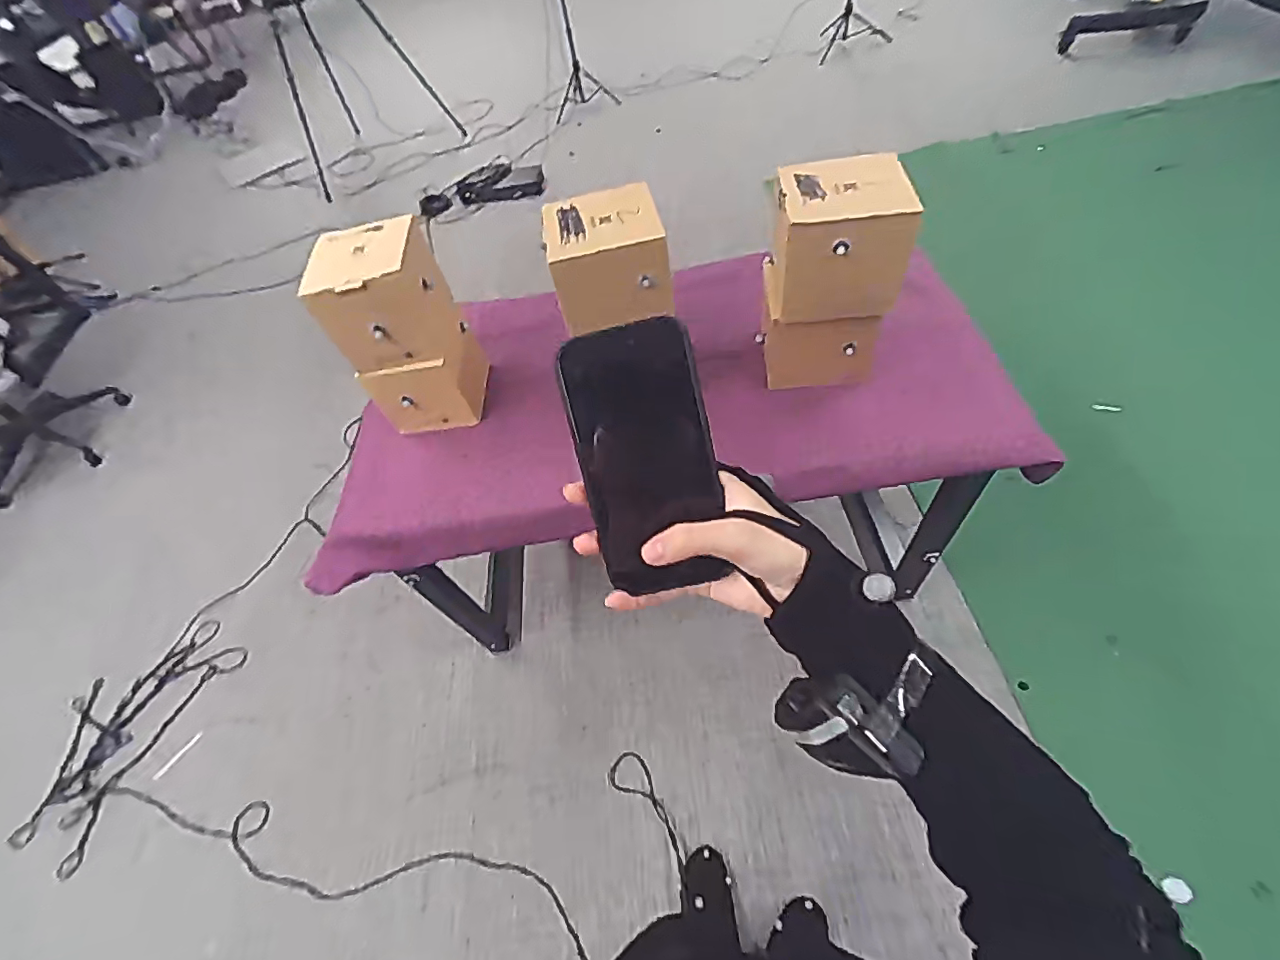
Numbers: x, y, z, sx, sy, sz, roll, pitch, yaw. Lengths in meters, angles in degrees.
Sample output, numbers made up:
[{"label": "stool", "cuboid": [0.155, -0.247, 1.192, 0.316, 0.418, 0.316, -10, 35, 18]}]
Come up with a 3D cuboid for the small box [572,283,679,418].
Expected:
[{"label": "small box", "cuboid": [-0.022, -0.237, 1.012, 0.179, 0.176, 0.168, -8, 53, 5]}]

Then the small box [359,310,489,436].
[{"label": "small box", "cuboid": [-0.408, -0.200, 1.058, 0.168, 0.176, 0.179, -7, 54, 5]}]

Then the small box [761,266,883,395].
[{"label": "small box", "cuboid": [0.315, -0.272, 0.975, 0.179, 0.176, 0.168, -3, 54, 9]}]

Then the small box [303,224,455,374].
[{"label": "small box", "cuboid": [-0.434, -0.302, 0.932, 0.168, 0.176, 0.179, -11, 54, 2]}]

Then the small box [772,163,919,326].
[{"label": "small box", "cuboid": [0.300, -0.356, 0.835, 0.179, 0.176, 0.168, -3, 54, 8]}]
